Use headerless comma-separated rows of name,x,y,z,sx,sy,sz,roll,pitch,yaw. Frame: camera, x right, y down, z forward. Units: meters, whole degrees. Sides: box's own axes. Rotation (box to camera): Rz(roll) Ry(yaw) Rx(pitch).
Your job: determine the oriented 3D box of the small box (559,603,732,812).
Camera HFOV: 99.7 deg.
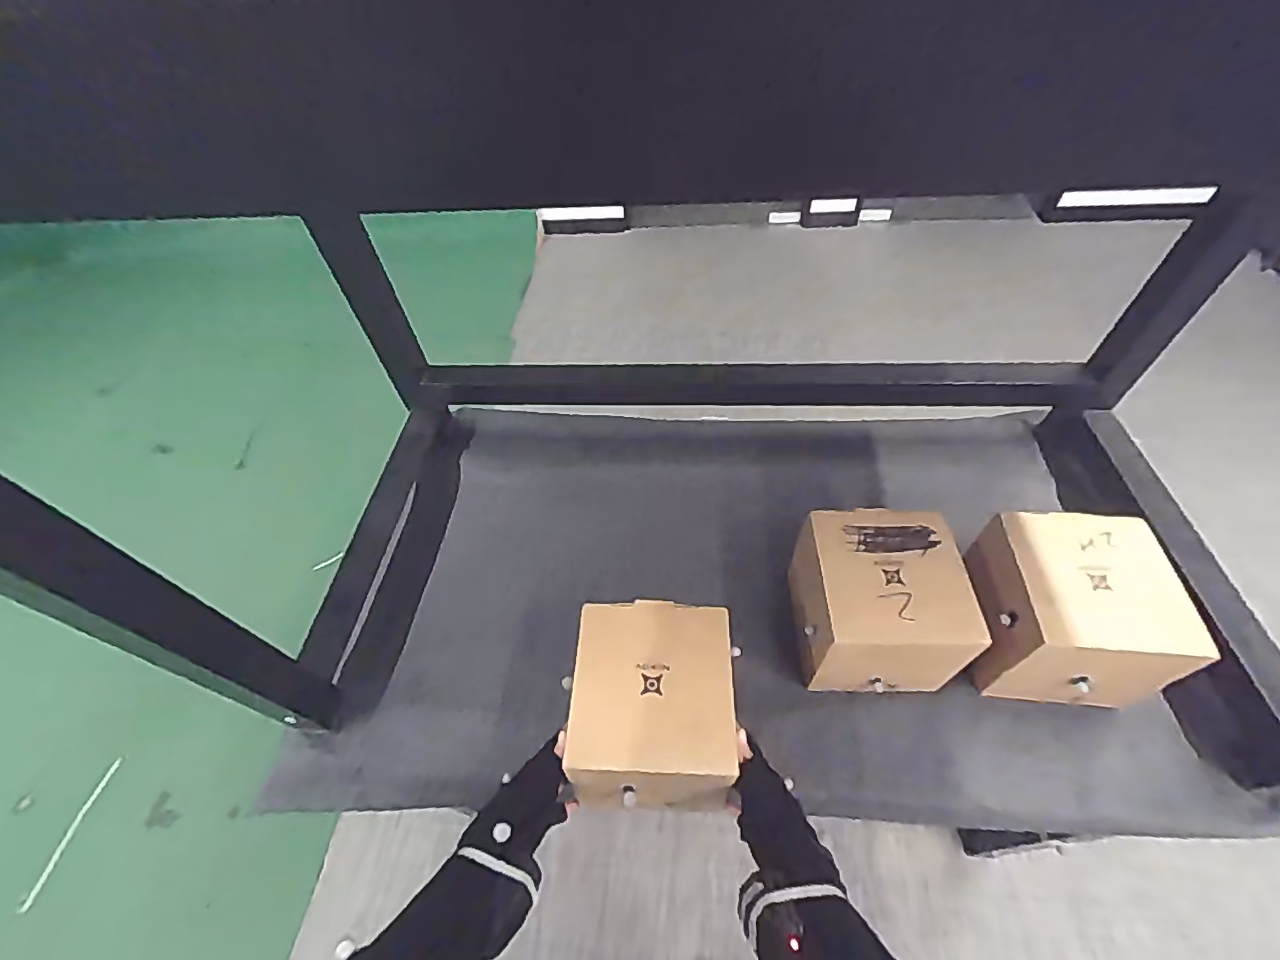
small box,0.012,0.260,0.613,0.168,0.176,0.179,1,47,3
